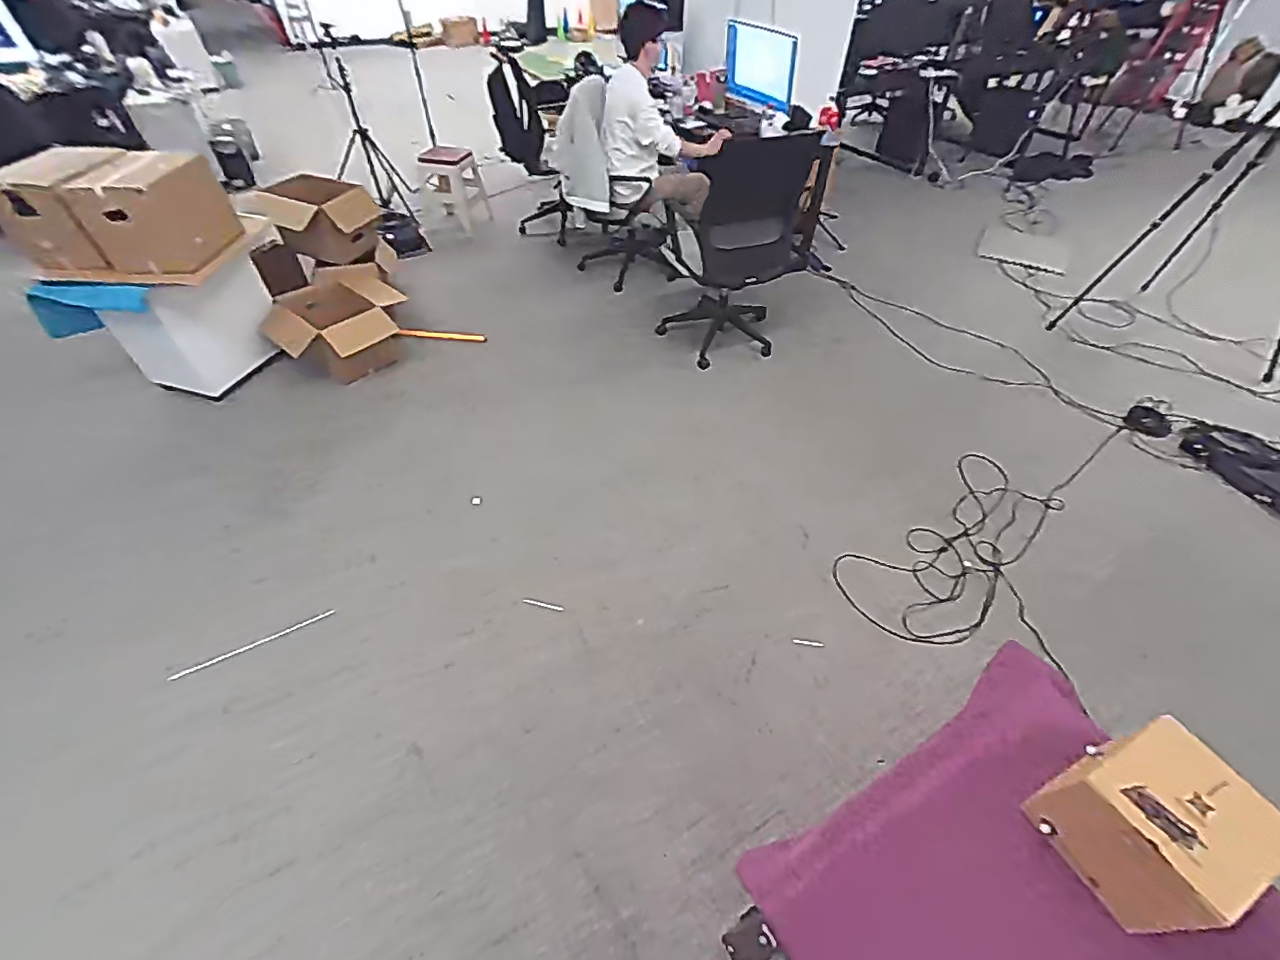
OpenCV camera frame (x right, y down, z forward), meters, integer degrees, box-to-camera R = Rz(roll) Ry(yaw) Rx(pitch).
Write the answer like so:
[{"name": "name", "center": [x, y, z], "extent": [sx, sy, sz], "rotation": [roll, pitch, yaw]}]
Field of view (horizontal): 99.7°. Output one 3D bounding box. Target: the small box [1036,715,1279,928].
[{"name": "small box", "center": [0.675, 0.451, 0.713], "extent": [0.179, 0.176, 0.168], "rotation": [-21, 51, -18]}]
